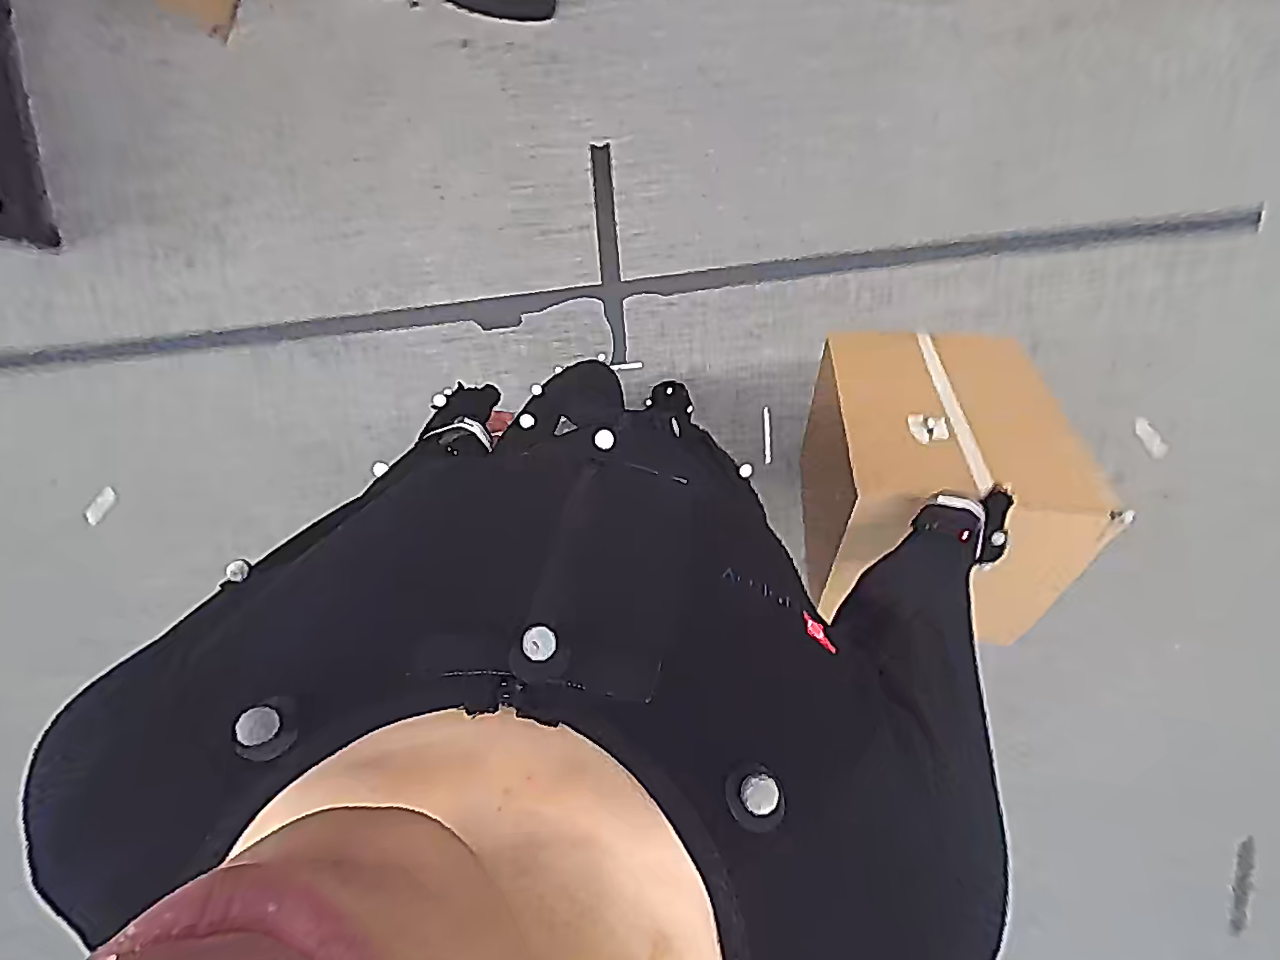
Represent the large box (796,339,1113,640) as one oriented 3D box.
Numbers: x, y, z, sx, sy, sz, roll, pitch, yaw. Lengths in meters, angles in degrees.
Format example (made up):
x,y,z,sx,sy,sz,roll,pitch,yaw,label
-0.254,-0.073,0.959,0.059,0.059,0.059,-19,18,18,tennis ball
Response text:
x,y,z,sx,sy,sz,roll,pitch,yaw,label
0.462,0.006,0.922,0.320,0.408,0.320,4,137,8,large box
